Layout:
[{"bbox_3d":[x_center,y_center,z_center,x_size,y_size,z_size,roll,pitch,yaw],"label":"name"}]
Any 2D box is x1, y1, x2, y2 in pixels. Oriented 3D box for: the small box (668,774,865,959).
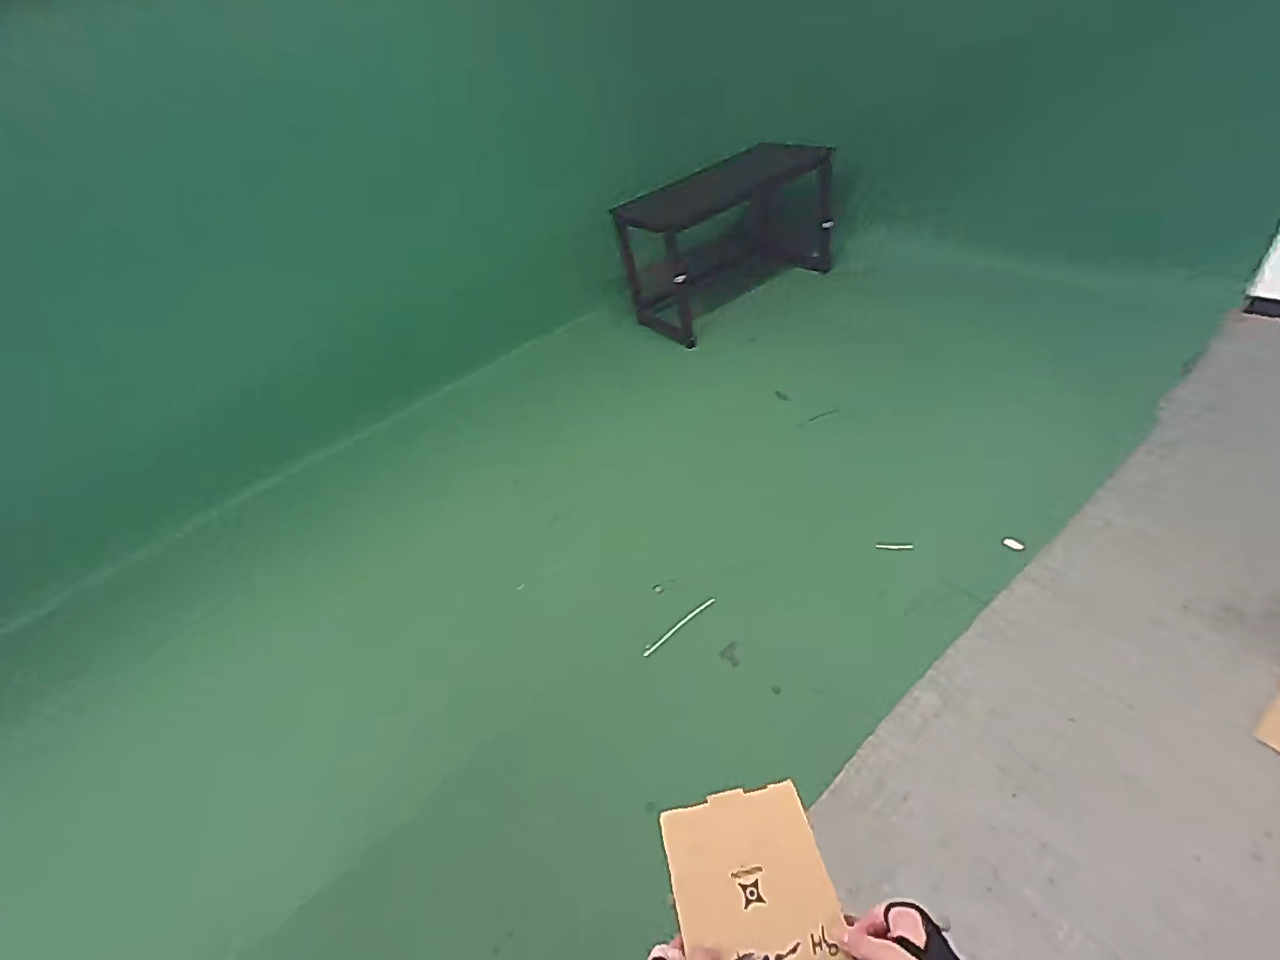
[{"bbox_3d":[0.133,0.477,0.626,0.168,0.176,0.179,-12,43,-2],"label":"small box"}]
